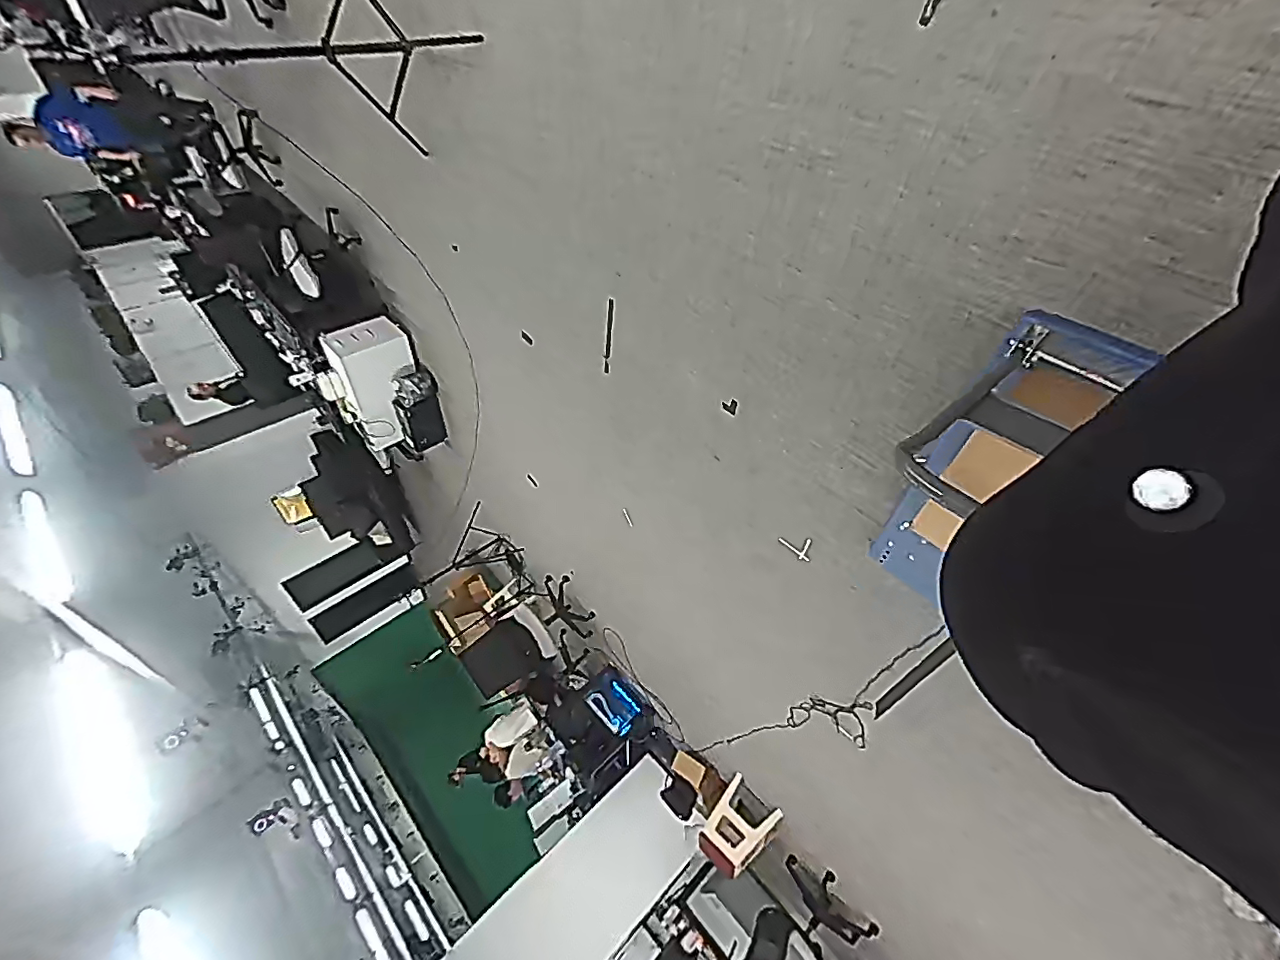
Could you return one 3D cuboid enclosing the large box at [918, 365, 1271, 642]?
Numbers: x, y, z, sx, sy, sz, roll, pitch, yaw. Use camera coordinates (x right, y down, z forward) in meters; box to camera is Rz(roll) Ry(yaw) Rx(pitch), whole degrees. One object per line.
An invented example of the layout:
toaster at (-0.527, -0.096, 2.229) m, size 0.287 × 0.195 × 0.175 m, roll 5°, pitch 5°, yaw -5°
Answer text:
large box at (0.879, 0.031, 1.090) m, size 0.408 × 0.320 × 0.320 m, roll 40°, pitch 145°, yaw 28°
